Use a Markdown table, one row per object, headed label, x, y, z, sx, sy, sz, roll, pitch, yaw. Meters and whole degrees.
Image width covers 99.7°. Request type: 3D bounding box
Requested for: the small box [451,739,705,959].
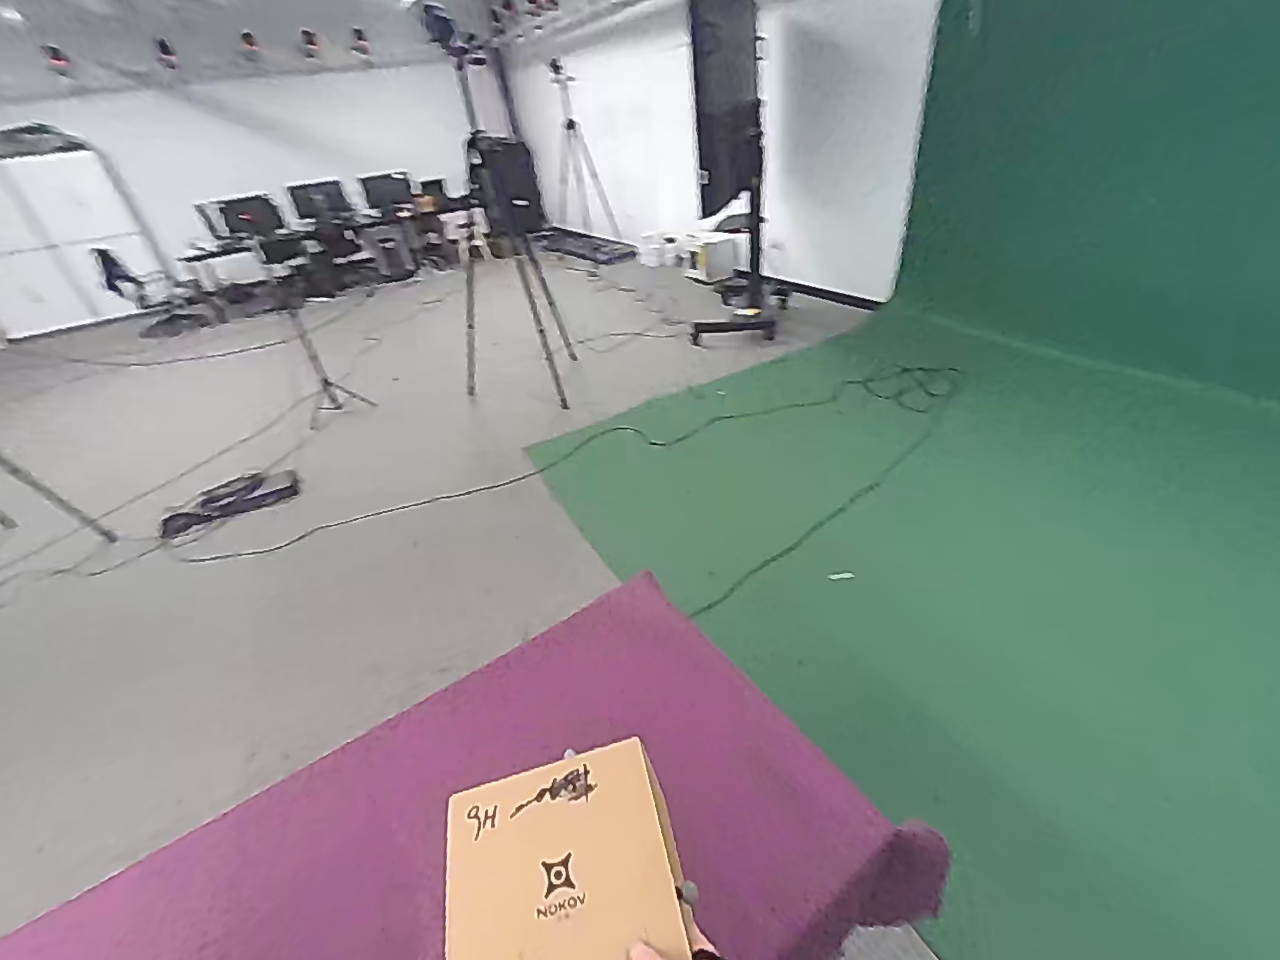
| label | x | y | z | sx | sy | sz | roll | pitch | yaw |
| --- | --- | --- | --- | --- | --- | --- | --- | --- | --- |
| small box | -0.044 | 0.350 | 0.449 | 0.168 | 0.176 | 0.179 | -15 | 45 | -4 |
